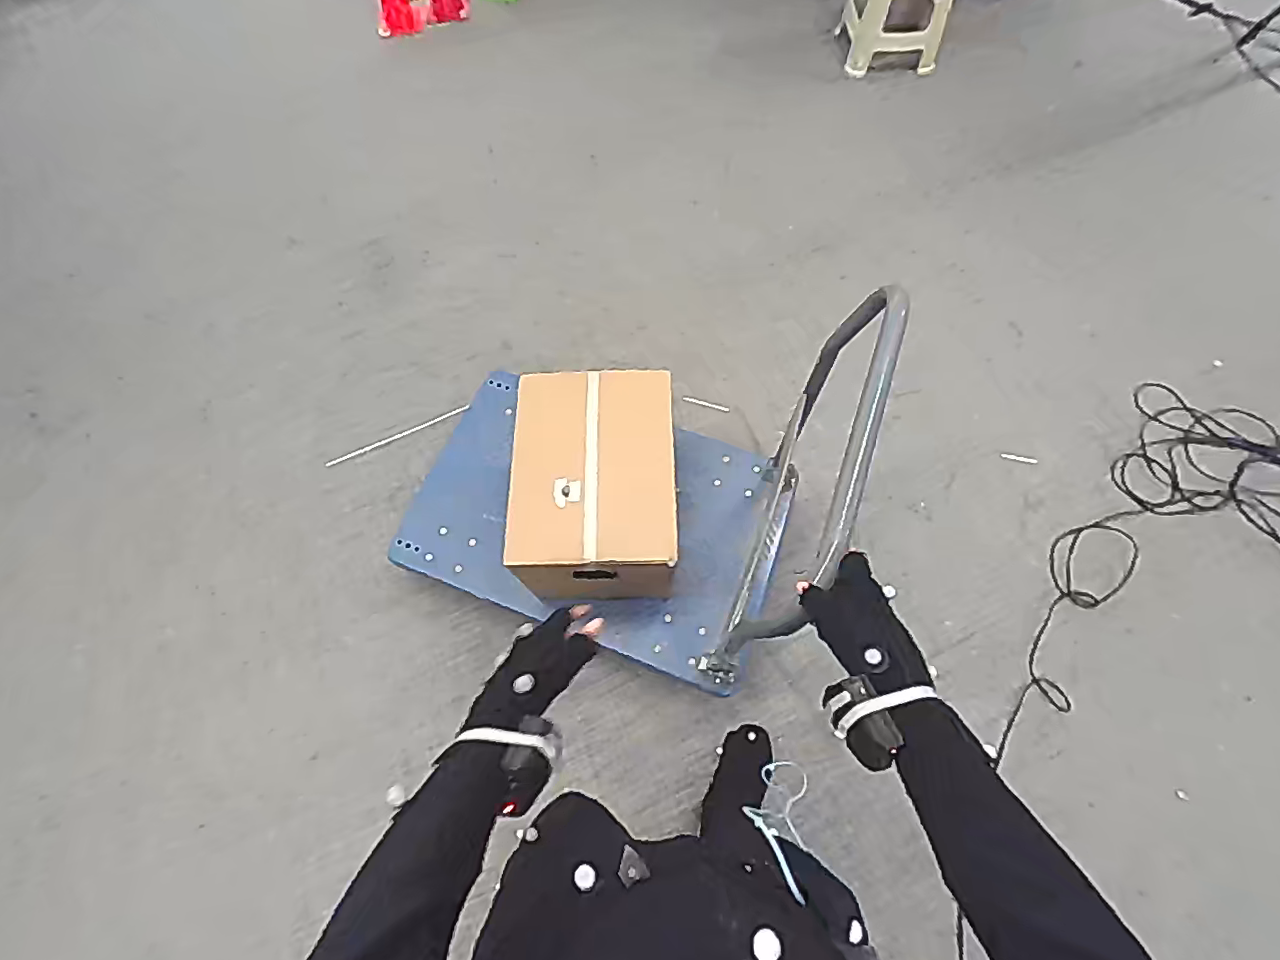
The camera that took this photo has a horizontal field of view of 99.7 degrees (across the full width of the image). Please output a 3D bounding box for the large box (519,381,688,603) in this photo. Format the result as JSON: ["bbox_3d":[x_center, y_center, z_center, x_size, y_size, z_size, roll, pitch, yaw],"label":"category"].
[{"bbox_3d":[-0.072,0.039,1.184,0.320,0.320,0.408,-3,67,1],"label":"large box"}]
